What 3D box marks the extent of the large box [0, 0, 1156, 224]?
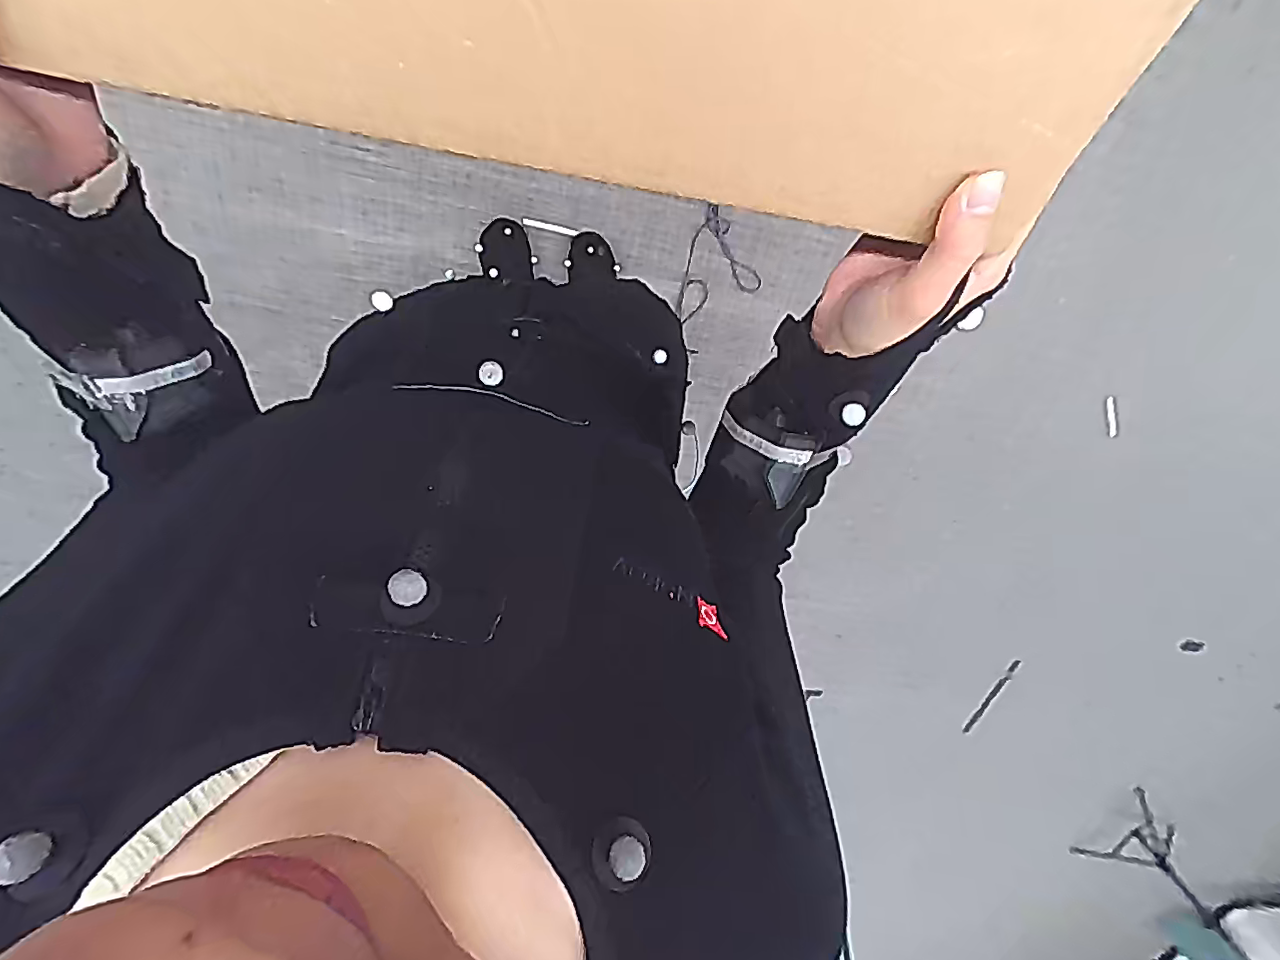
[{"bbox_3d":[-0.019,-0.337,0.190,0.408,0.320,0.320,5,141,-9],"label":"large box"}]
